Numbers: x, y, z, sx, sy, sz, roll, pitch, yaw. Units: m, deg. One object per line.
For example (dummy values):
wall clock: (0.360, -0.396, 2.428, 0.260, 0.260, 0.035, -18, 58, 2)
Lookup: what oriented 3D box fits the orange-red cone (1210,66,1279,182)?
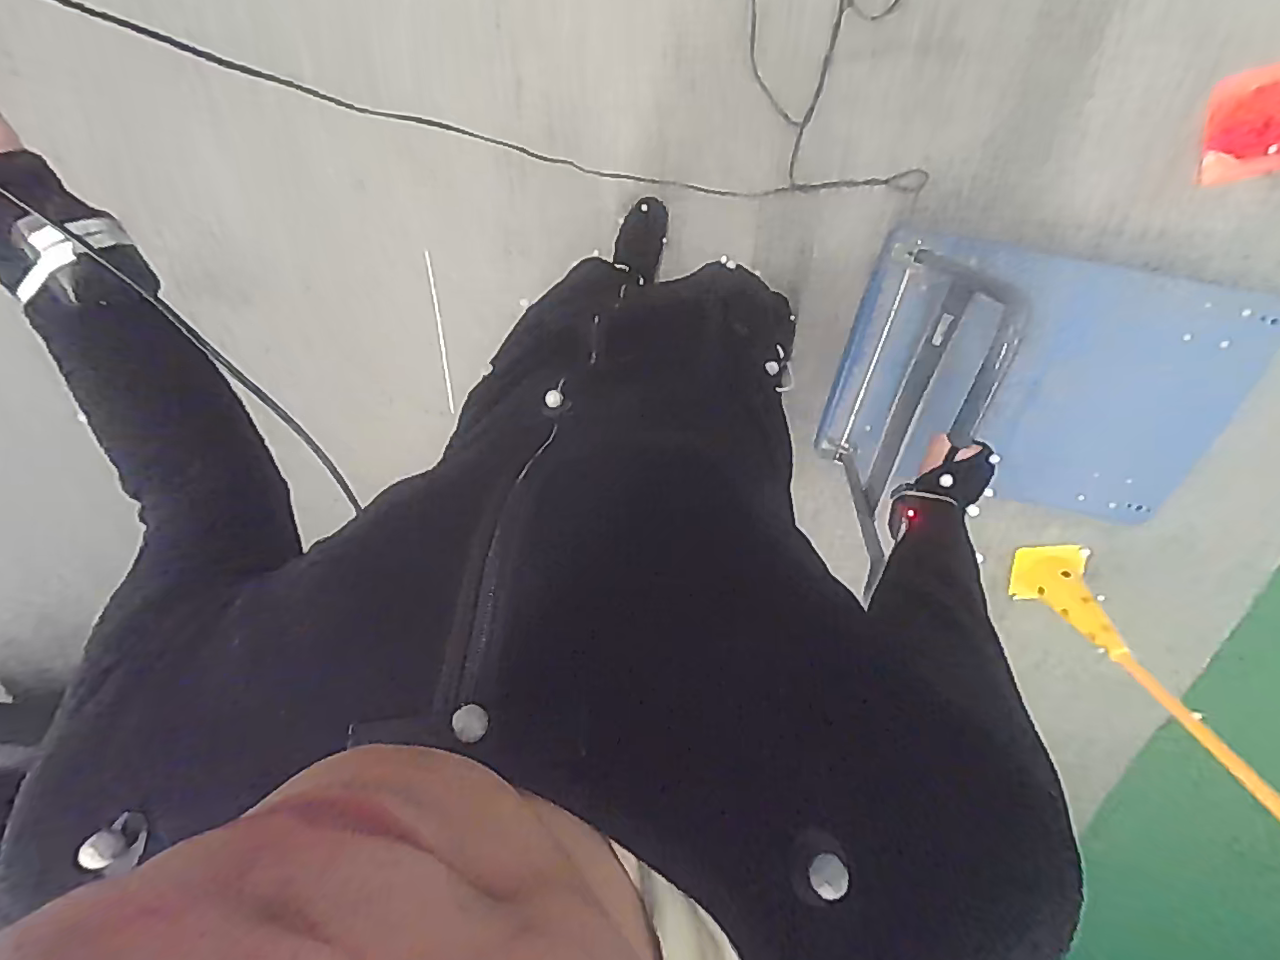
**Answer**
orange-red cone: (1.293, -0.669, 0.973, 0.198, 0.360, 0.199, -8, 115, 12)
